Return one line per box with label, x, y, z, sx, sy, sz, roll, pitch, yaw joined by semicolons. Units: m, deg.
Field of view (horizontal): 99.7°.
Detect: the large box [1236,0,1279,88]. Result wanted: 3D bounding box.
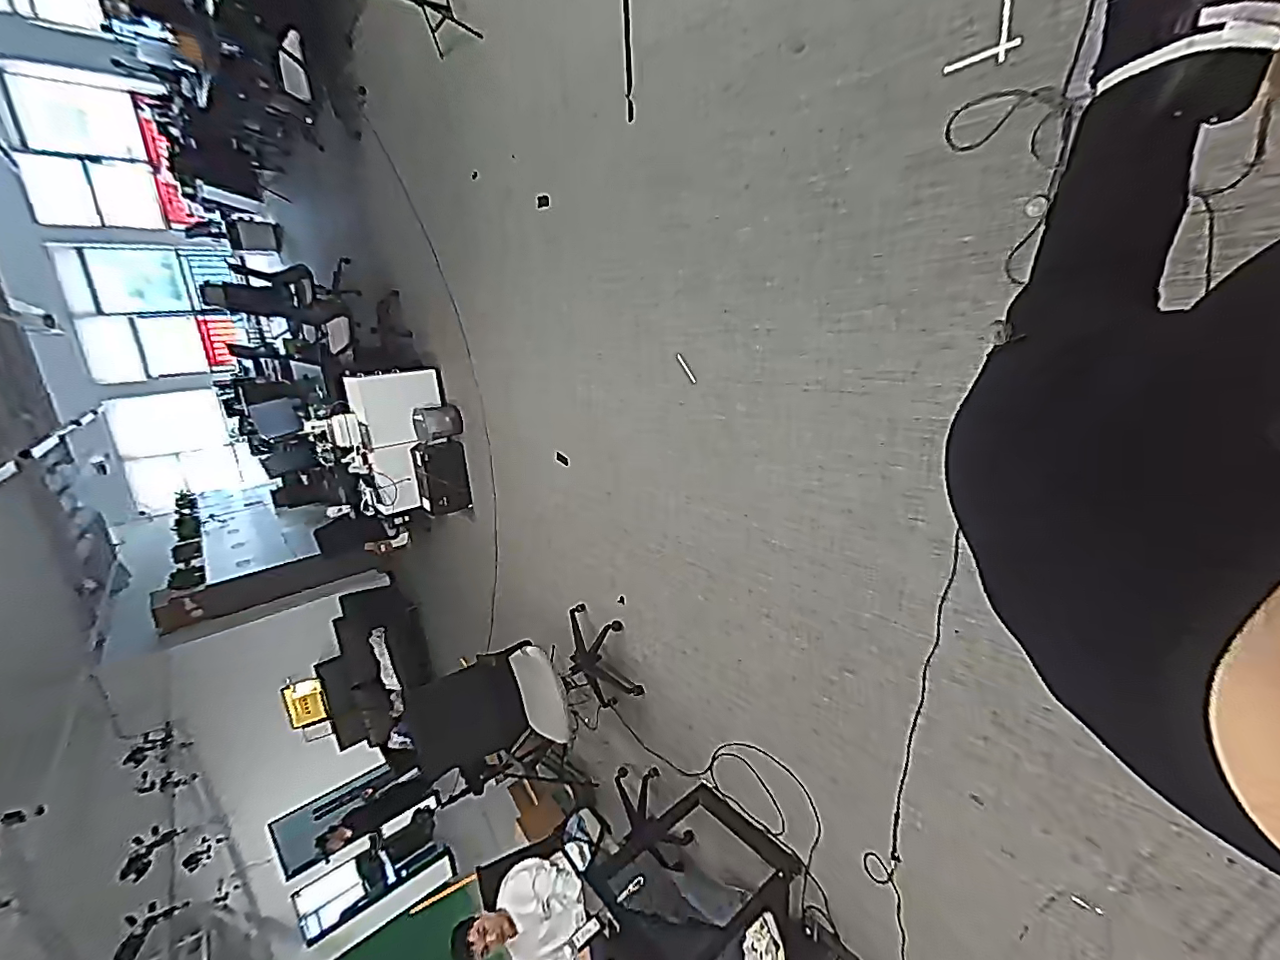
large box;0.610;-0.449;0.246;0.408;0.320;0.320;16;119;49
